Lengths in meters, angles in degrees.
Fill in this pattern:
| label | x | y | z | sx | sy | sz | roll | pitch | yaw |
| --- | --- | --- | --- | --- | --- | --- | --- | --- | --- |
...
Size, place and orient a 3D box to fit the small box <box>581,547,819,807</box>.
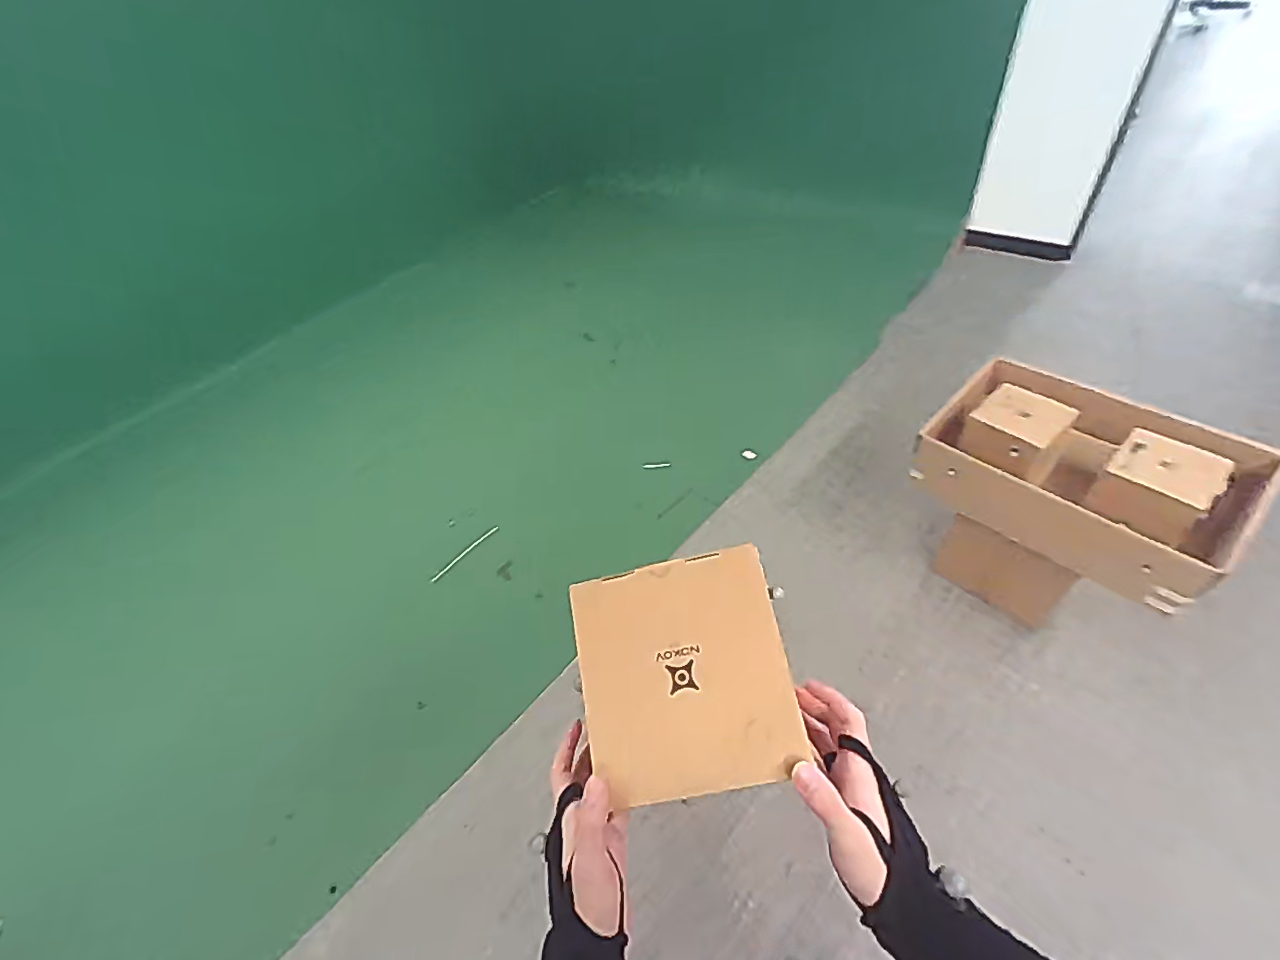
| label | x | y | z | sx | sy | sz | roll | pitch | yaw |
| --- | --- | --- | --- | --- | --- | --- | --- | --- | --- |
| small box | 0.056 | 0.179 | 0.501 | 0.168 | 0.176 | 0.179 | -13 | 66 | 7 |
